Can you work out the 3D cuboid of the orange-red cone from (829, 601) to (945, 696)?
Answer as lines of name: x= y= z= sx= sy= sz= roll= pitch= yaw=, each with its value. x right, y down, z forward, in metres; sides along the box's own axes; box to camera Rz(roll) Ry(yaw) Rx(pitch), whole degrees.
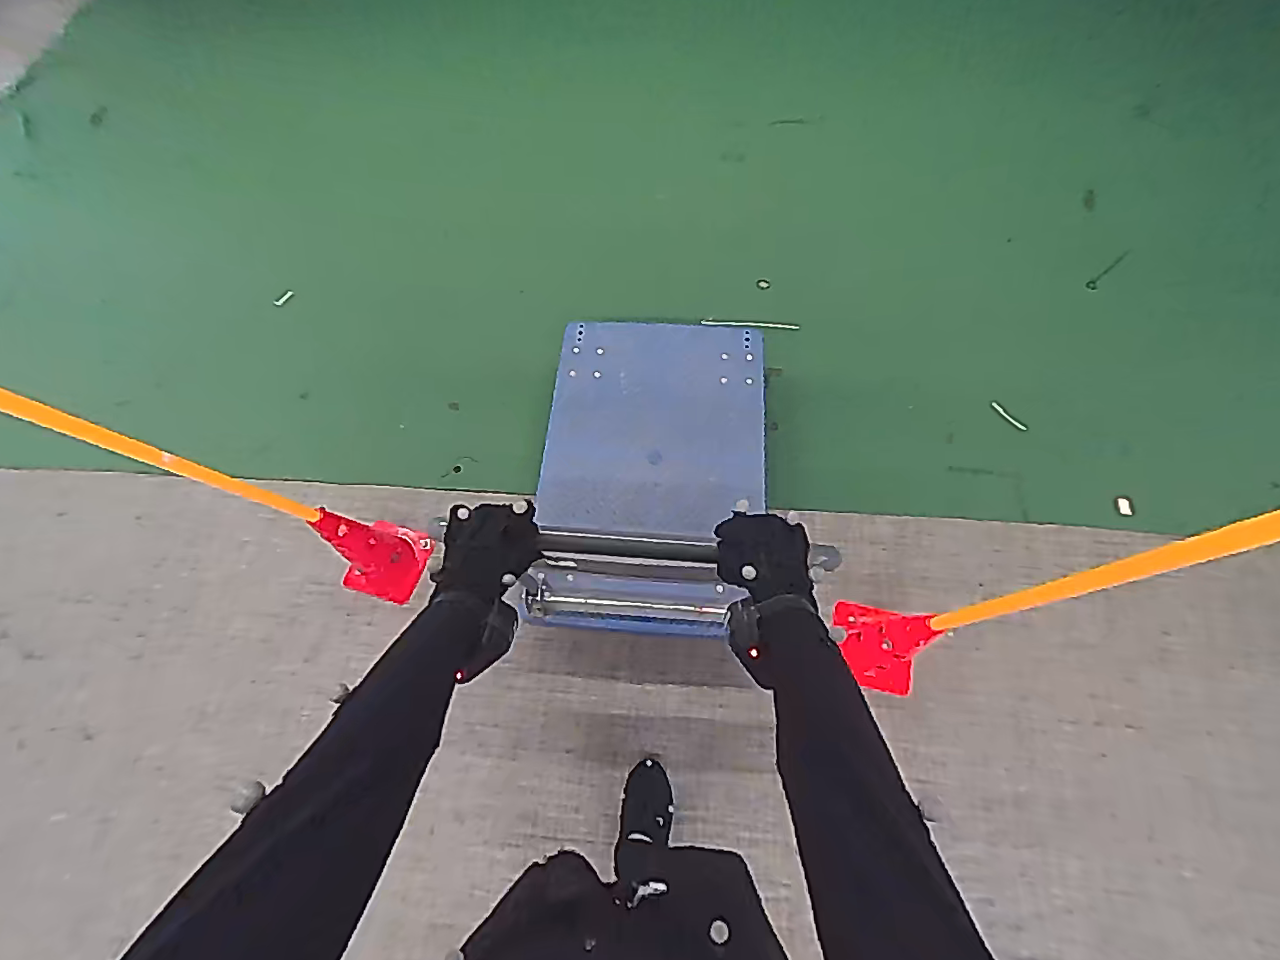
orange-red cone: x=0.575 y=0.348 z=1.195 sx=0.198 sy=0.360 sz=0.199 roll=13 pitch=67 yaw=8
